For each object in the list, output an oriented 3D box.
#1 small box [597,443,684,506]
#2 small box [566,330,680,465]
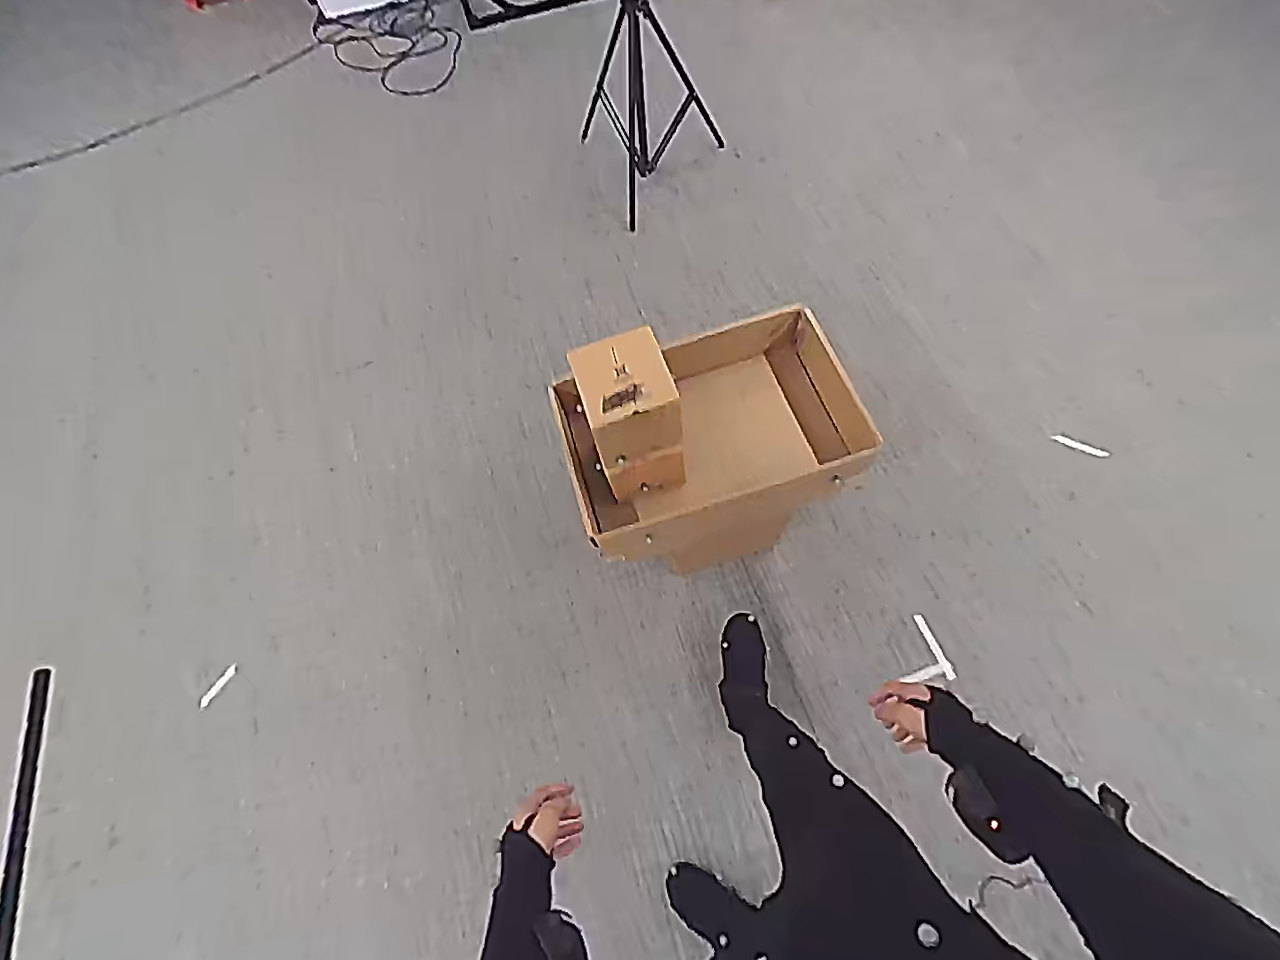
[{"bbox_3d":[-0.009,-0.069,1.179,0.168,0.176,0.179,-19,66,-2],"label":"small box"},{"bbox_3d":[-0.027,-0.147,1.034,0.168,0.176,0.179,-19,66,-2],"label":"small box"}]
